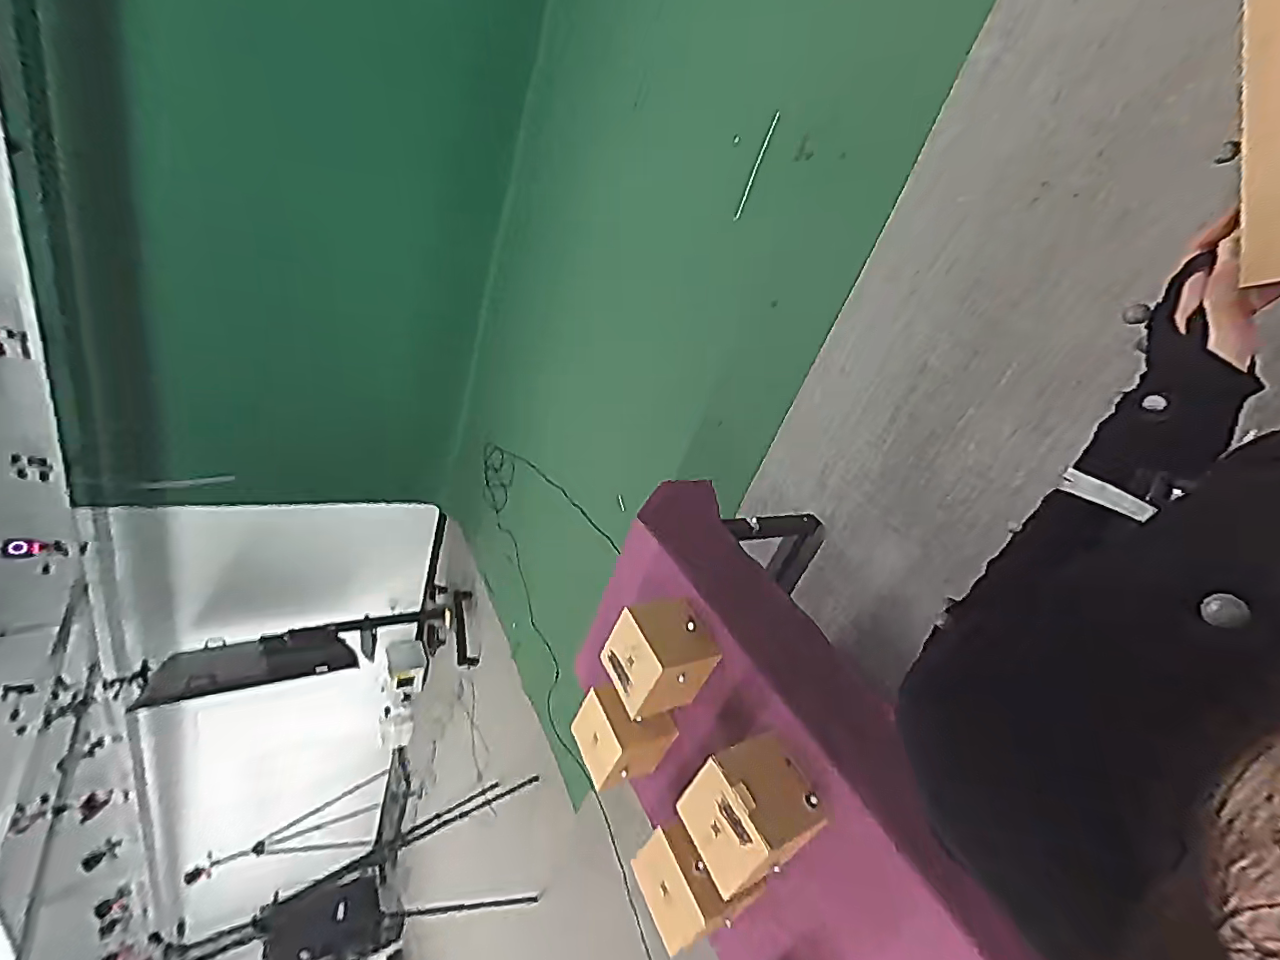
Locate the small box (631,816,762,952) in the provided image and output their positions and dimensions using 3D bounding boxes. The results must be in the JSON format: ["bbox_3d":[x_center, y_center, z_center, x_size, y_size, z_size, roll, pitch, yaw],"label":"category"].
[{"bbox_3d":[0.115,0.797,1.102,0.179,0.176,0.168,54,130,41],"label":"small box"}]

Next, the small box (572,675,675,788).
[{"bbox_3d":[-0.038,0.605,1.320,0.168,0.176,0.179,53,131,40],"label":"small box"}]

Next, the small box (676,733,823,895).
[{"bbox_3d":[0.201,0.595,0.983,0.168,0.176,0.179,52,131,42],"label":"small box"}]

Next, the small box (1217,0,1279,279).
[{"bbox_3d":[0.433,-0.206,0.275,0.179,0.176,0.168,4,105,50],"label":"small box"}]
